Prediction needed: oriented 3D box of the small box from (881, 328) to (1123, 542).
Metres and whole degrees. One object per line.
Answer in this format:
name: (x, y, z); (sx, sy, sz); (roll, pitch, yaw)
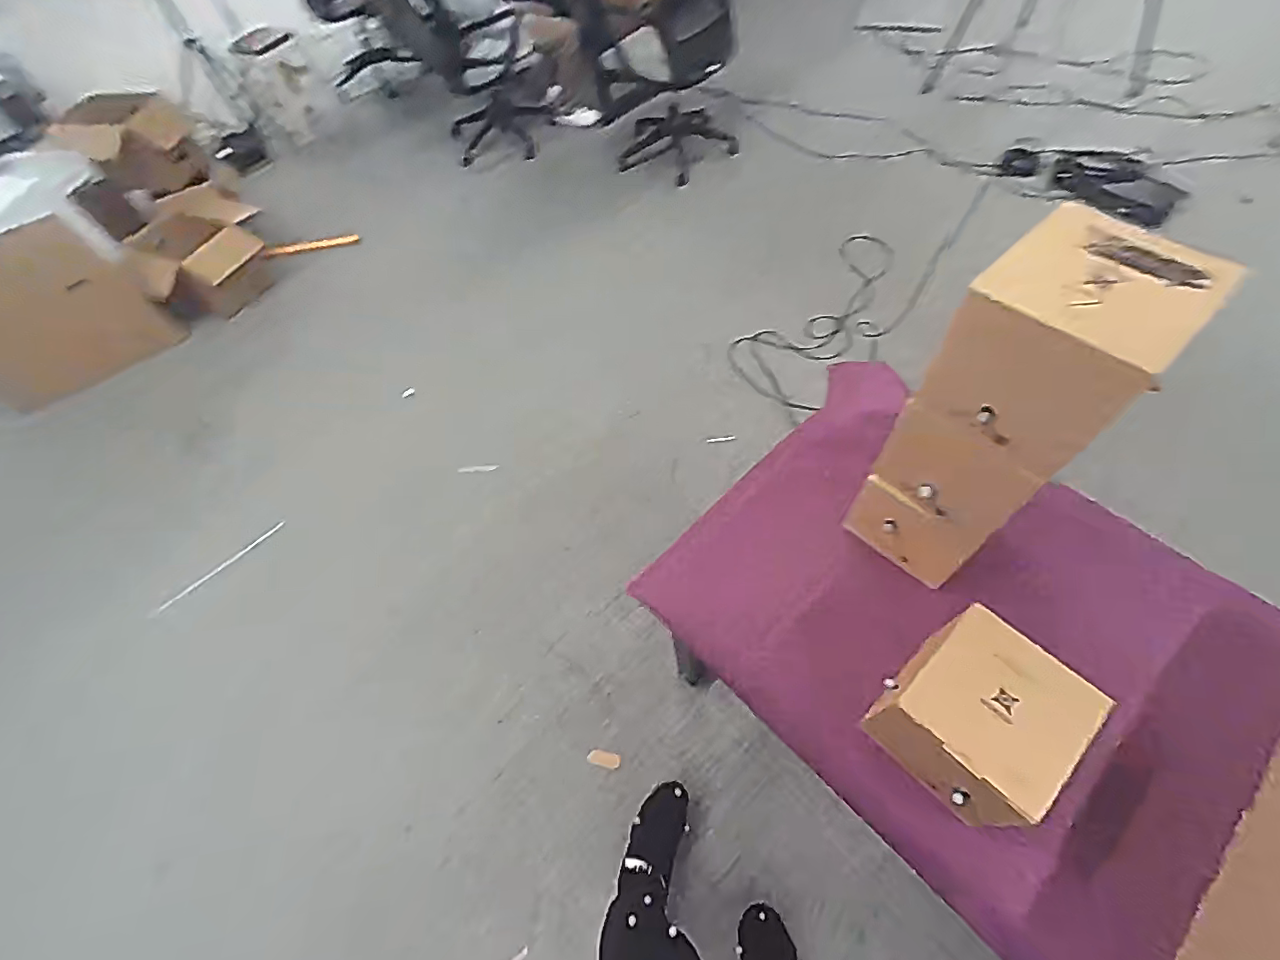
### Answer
small box: (0.445, -0.054, 0.698); (0.179, 0.176, 0.168); (-37, 61, -15)

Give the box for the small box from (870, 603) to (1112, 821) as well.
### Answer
small box: (0.416, 0.293, 0.676); (0.179, 0.176, 0.168); (-39, 62, -18)

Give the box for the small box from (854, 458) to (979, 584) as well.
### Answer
small box: (0.456, 0.031, 0.838); (0.179, 0.176, 0.168); (-41, 62, -19)
